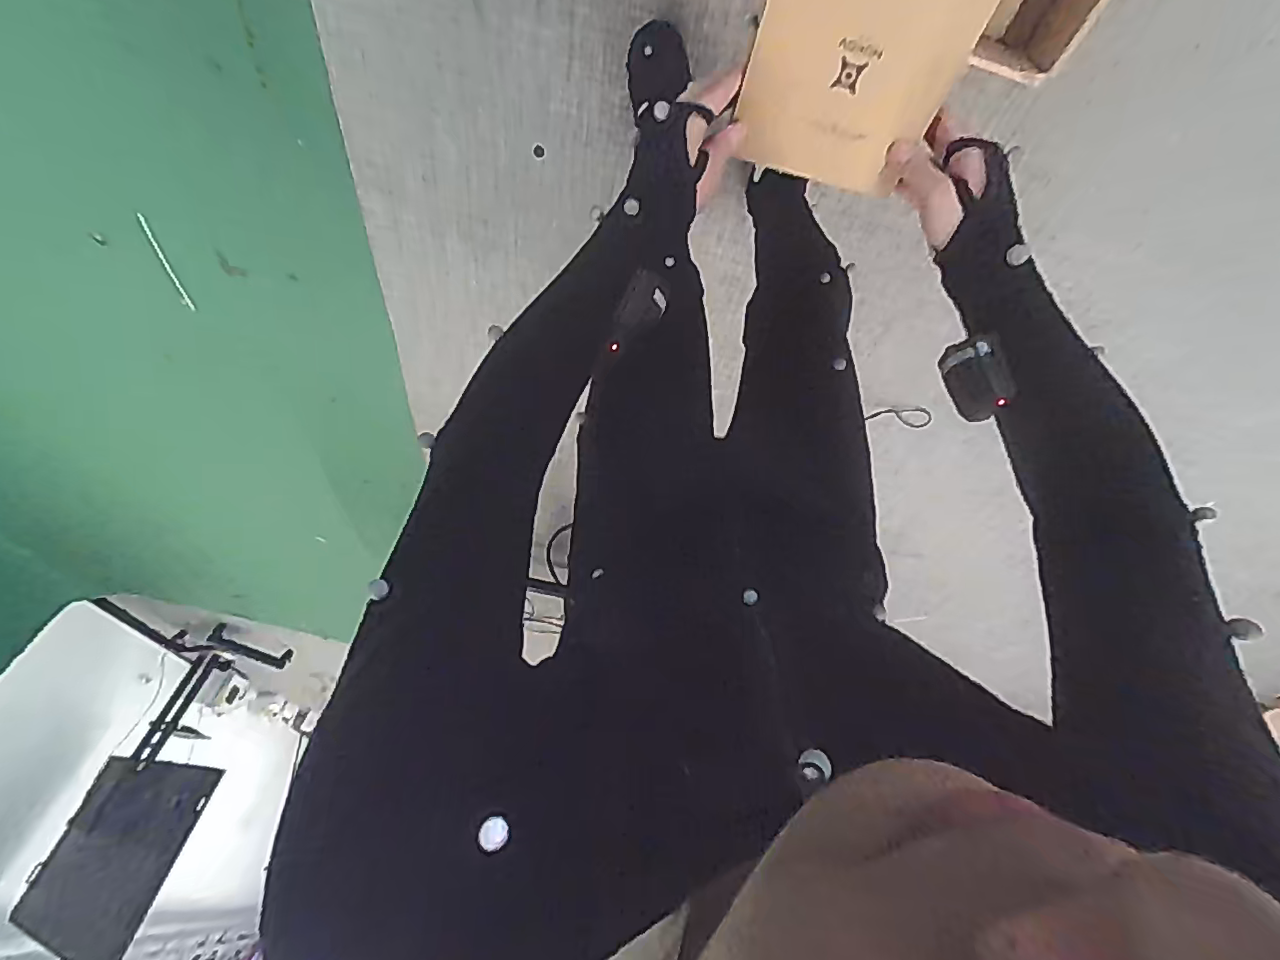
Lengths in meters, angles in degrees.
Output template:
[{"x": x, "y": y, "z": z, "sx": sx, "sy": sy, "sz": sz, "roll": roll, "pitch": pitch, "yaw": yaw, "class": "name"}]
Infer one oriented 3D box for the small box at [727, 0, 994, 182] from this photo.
[{"x": 0.185, "y": -0.409, "z": 0.478, "sx": 0.168, "sy": 0.176, "sz": 0.179, "roll": 15, "pitch": 145, "yaw": -2, "class": "small box"}]
